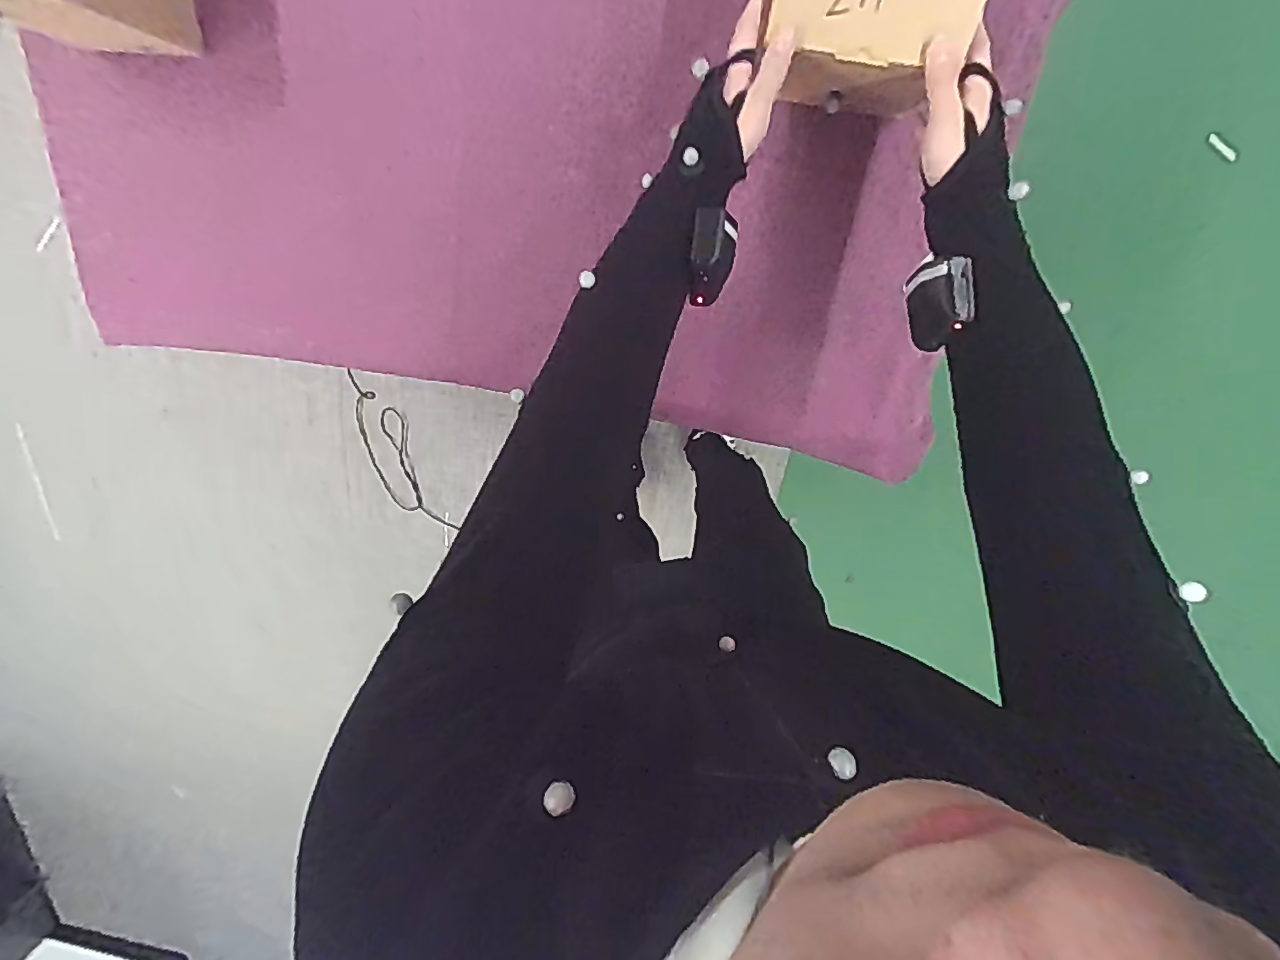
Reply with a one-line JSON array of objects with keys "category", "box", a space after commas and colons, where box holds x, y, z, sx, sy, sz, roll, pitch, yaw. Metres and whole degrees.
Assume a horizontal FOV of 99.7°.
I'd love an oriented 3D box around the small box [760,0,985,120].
[{"category": "small box", "box": [0.211, -0.458, 0.491, 0.168, 0.176, 0.179, 13, 115, 4]}]
